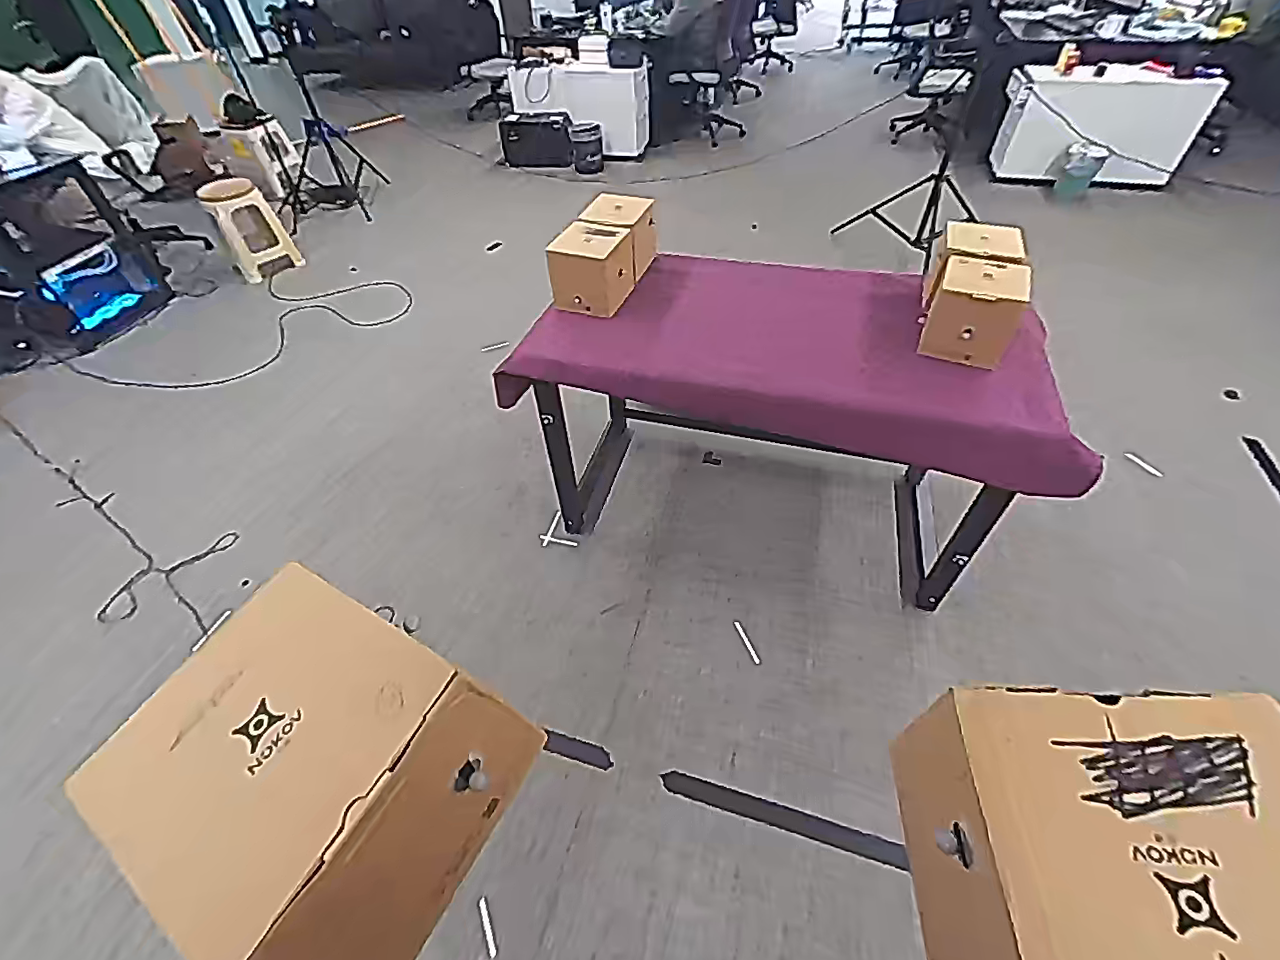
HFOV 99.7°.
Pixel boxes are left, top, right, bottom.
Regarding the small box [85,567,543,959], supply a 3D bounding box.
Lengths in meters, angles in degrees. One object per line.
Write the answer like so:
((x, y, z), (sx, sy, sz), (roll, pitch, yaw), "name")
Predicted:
((-0.195, 0.195, 0.375), (0.179, 0.176, 0.168), (19, 58, 26), "small box")

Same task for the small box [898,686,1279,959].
((0.271, 0.238, 0.321), (0.168, 0.176, 0.179), (-2, 54, 9), "small box")

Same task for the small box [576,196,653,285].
((-0.067, -0.687, 1.553), (0.168, 0.176, 0.179), (14, 51, 15), "small box")

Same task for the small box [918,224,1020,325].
((0.813, -0.514, 1.353), (0.168, 0.176, 0.179), (14, 49, 15), "small box")
